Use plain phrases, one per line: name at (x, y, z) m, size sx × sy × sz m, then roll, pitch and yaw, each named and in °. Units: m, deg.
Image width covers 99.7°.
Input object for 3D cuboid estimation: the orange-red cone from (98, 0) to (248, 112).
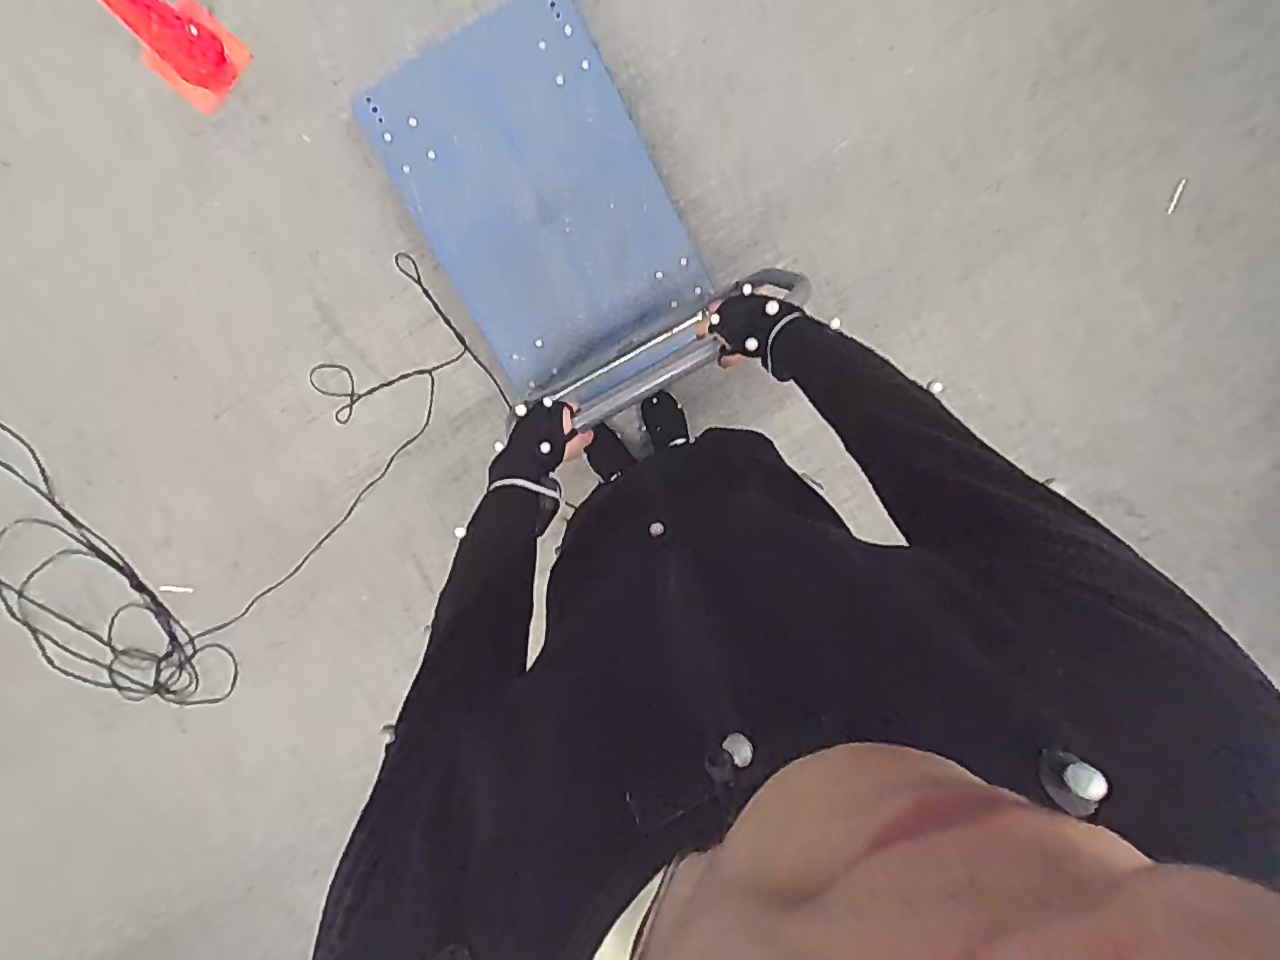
orange-red cone at (-1.121, -1.040, 1.206) m, size 0.198 × 0.360 × 0.199 m, roll 42°, pitch 97°, yaw -8°
